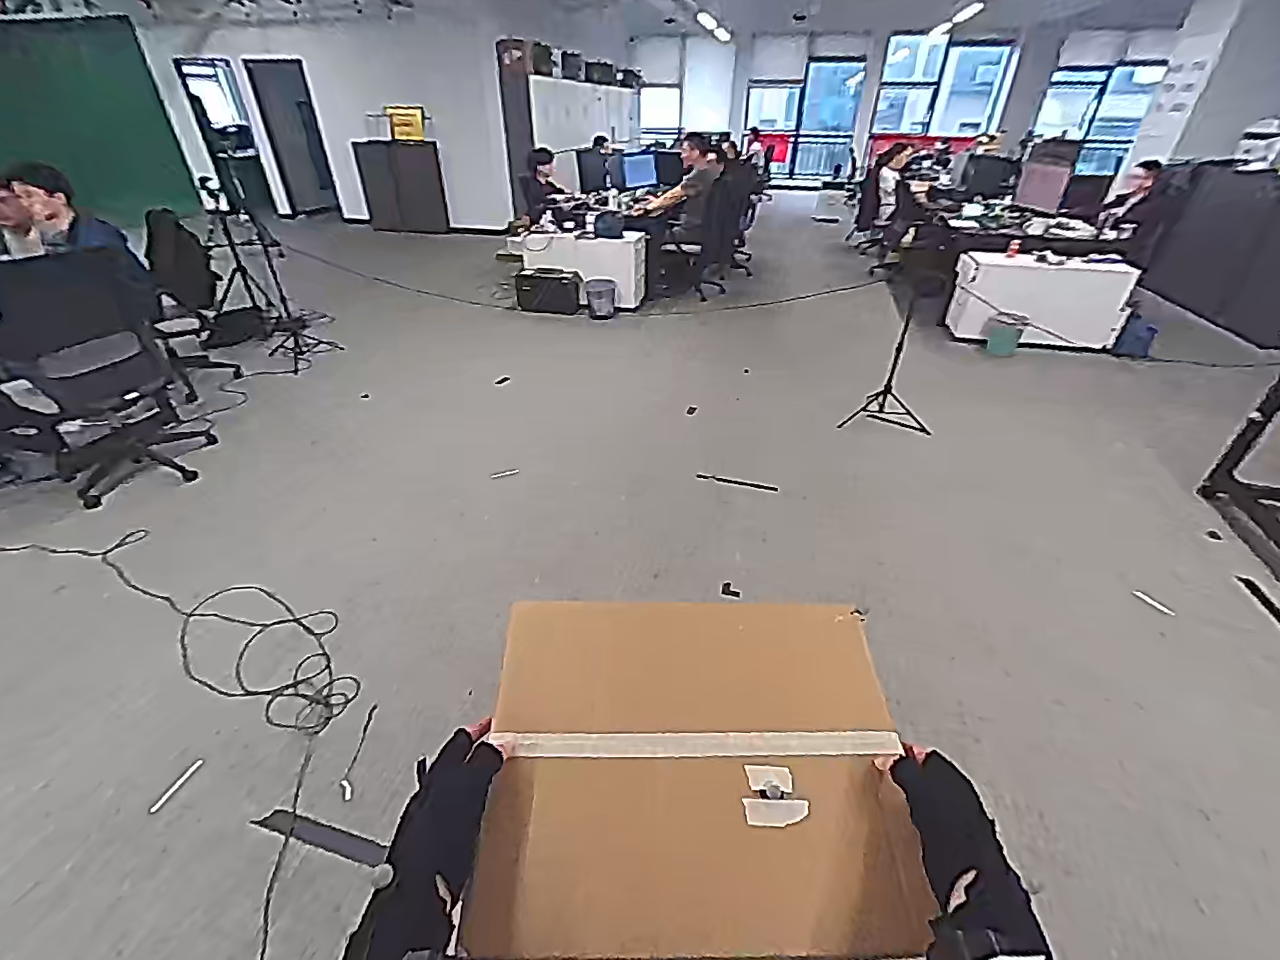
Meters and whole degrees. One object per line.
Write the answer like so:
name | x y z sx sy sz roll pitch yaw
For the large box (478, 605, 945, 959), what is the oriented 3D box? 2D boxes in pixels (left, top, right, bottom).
large box | 0.052 0.365 0.657 0.408 0.320 0.320 1 48 -2
